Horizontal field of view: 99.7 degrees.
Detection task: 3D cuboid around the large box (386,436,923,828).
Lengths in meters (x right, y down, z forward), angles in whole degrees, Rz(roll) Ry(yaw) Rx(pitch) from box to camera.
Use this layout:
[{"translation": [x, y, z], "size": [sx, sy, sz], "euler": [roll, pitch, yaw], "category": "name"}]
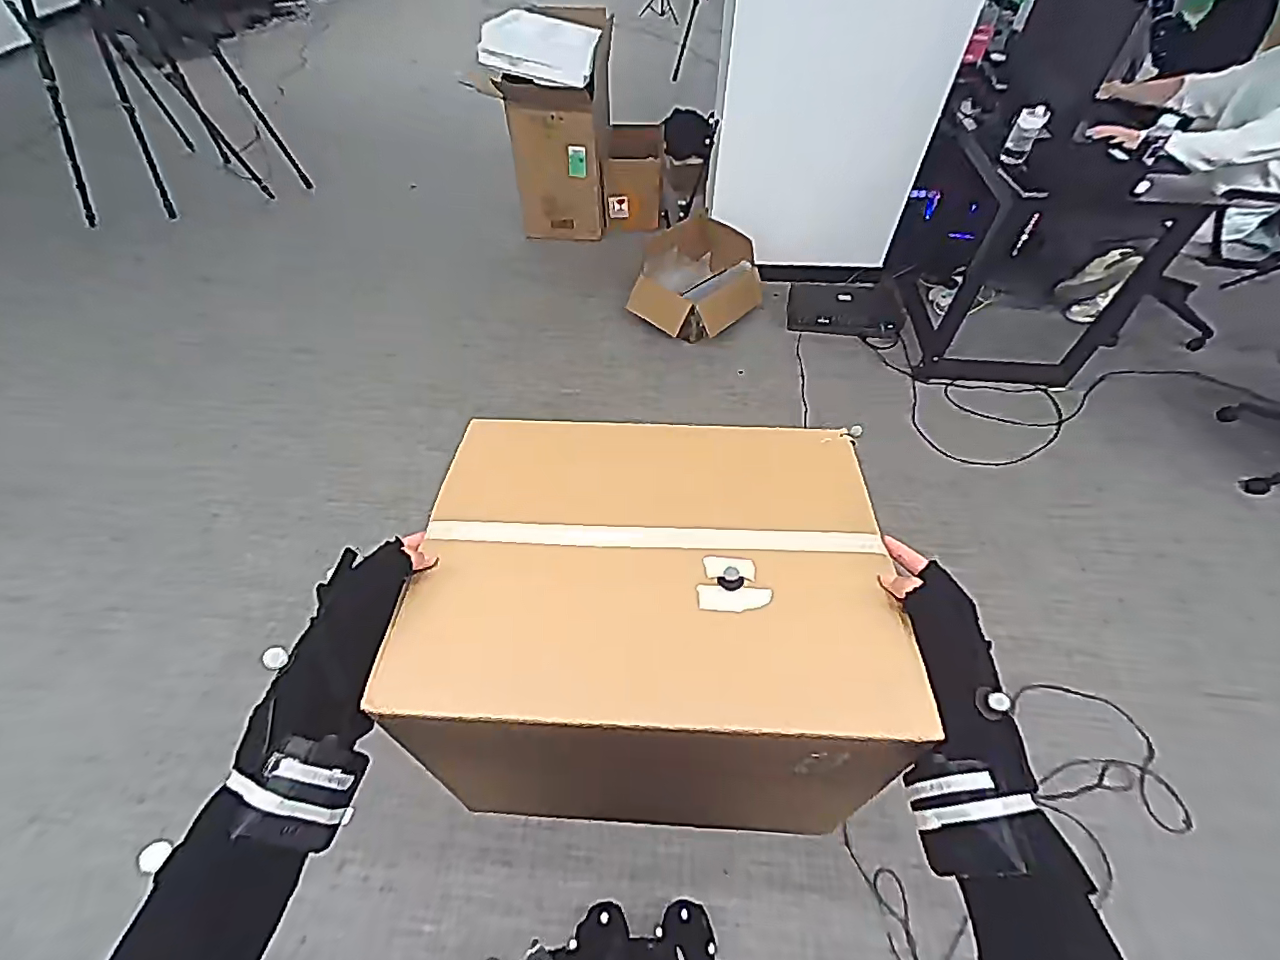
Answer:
[{"translation": [0.013, 0.169, 0.602], "size": [0.408, 0.320, 0.320], "euler": [2, 47, 2], "category": "large box"}]
